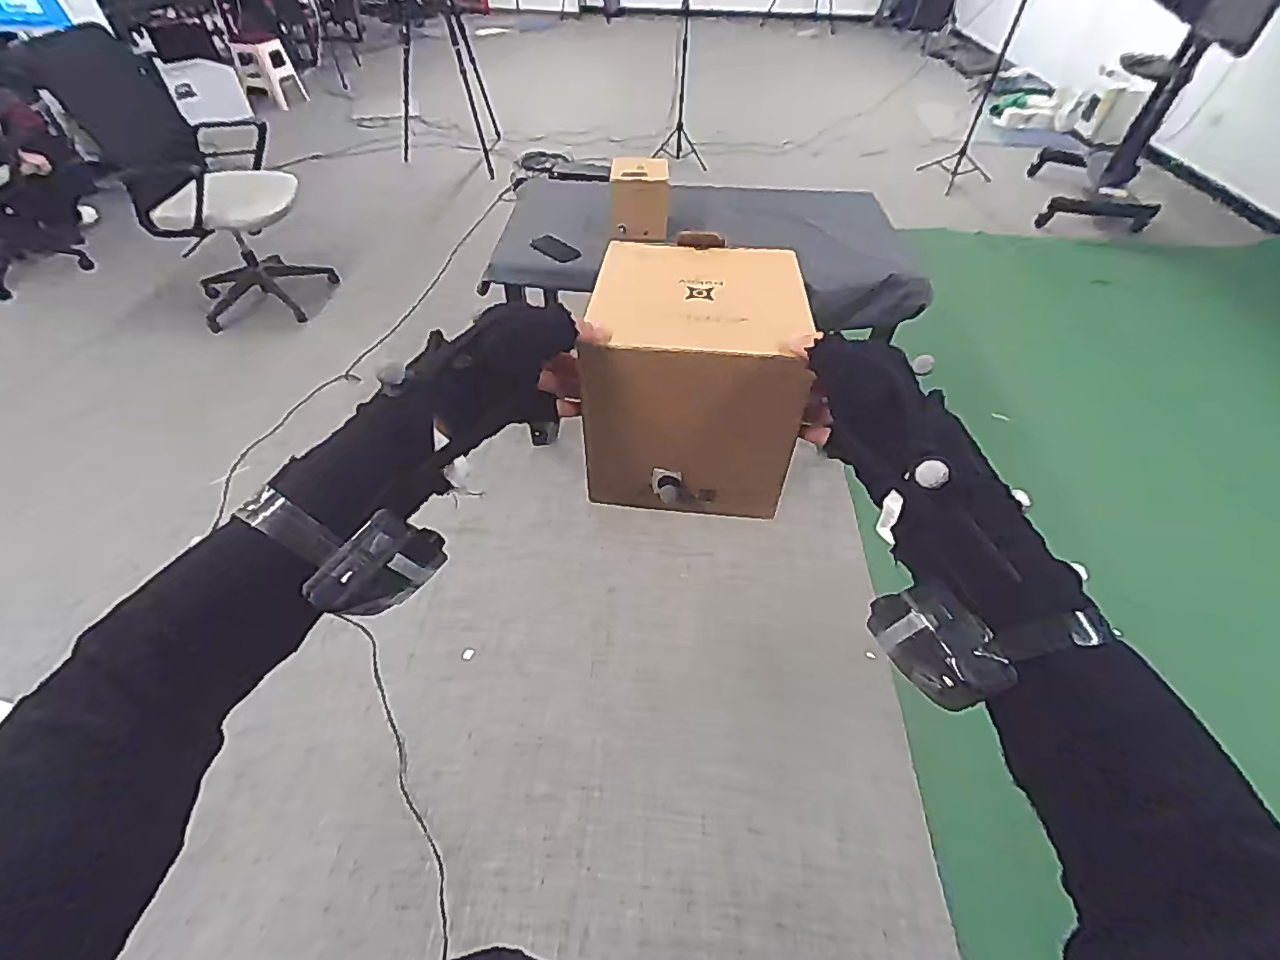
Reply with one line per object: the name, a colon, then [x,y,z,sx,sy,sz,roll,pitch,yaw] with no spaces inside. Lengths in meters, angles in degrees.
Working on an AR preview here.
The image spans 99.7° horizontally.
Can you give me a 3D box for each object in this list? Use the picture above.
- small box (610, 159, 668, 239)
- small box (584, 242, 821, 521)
small box: [-0.001,-0.839,1.618,0.168,0.176,0.179,2,47,-1]
small box: [0.048,-0.088,0.481,0.168,0.176,0.179,5,46,4]
